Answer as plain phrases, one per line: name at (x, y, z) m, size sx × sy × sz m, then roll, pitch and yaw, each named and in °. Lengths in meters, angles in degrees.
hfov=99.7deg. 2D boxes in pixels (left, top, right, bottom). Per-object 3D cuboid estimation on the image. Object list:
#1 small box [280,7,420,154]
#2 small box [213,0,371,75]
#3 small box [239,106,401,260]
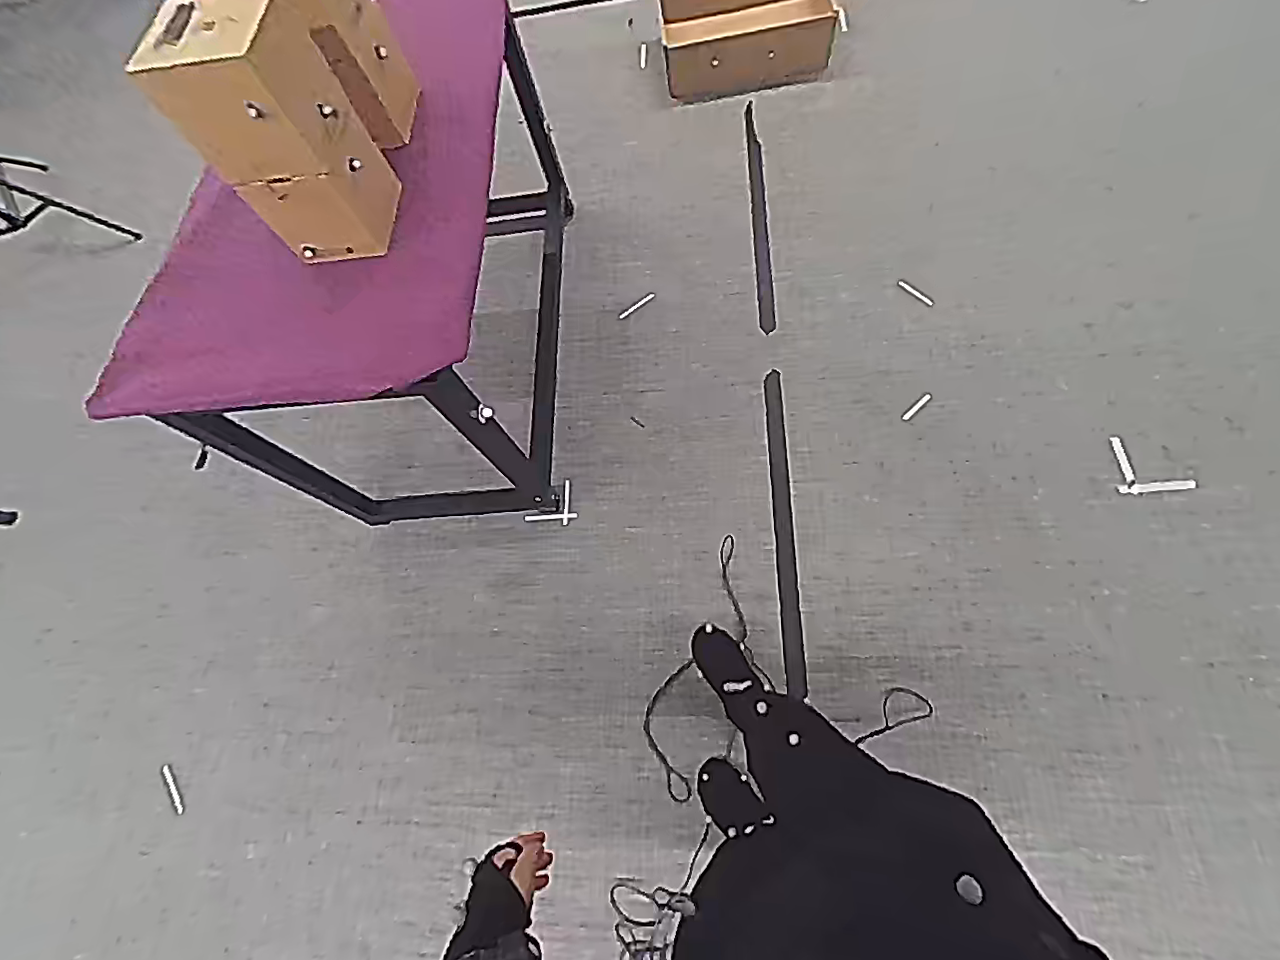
small box at (-0.557, -0.775, 1.065) m, size 0.168 × 0.176 × 0.179 m, roll -3°, pitch 69°, yaw 8°
small box at (-0.589, -0.829, 0.912) m, size 0.179 × 0.176 × 0.168 m, roll -3°, pitch 68°, yaw 8°
small box at (-0.549, -0.511, 0.956) m, size 0.168 × 0.176 × 0.179 m, roll -3°, pitch 67°, yaw 7°
